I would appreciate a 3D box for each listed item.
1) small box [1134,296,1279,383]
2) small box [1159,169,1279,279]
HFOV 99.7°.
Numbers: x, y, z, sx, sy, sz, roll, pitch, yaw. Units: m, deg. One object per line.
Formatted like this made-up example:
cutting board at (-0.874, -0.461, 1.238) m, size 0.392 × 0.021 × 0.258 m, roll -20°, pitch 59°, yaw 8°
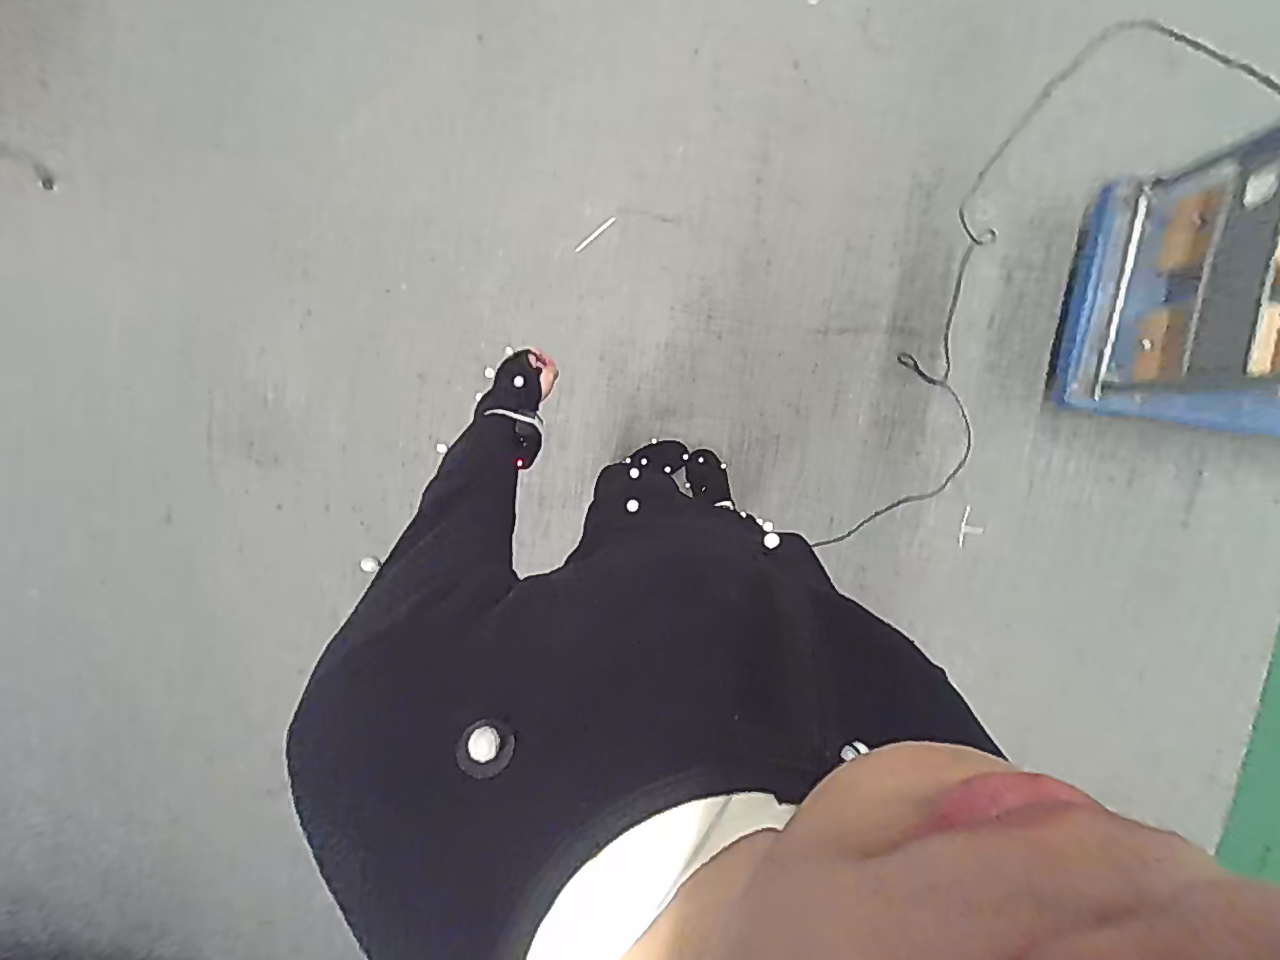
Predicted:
small box at (1.345, -0.327, 1.293) m, size 0.168 × 0.176 × 0.179 m, roll 6°, pitch 97°, yaw 1°
small box at (1.379, -0.586, 1.261) m, size 0.168 × 0.176 × 0.179 m, roll 10°, pitch 96°, yaw 1°
